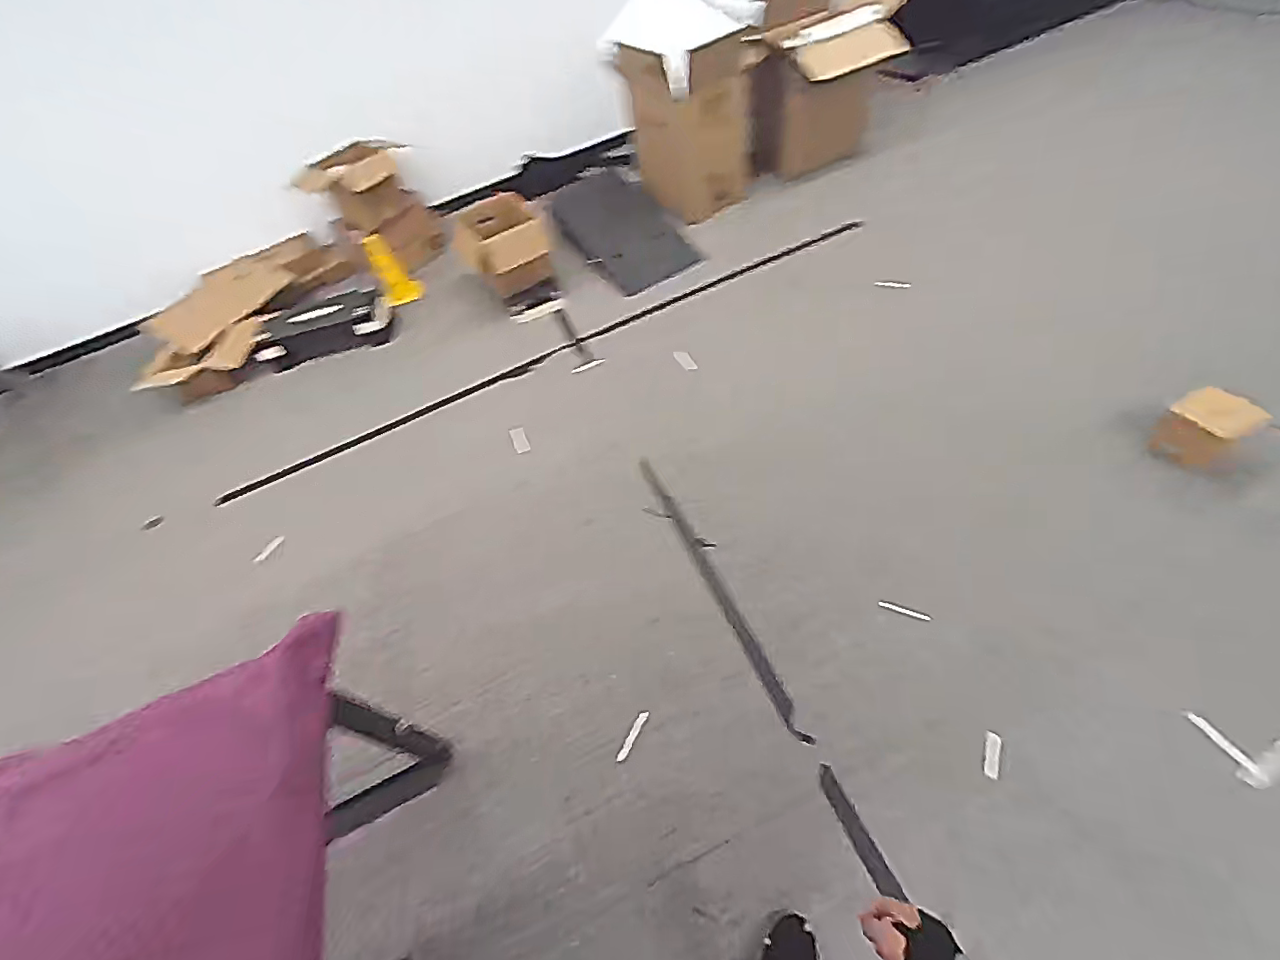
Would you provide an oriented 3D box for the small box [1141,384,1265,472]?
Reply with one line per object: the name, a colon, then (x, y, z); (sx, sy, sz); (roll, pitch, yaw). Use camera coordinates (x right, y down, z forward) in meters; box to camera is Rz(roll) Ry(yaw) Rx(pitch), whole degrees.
small box: (1.716, -0.158, 1.663); (0.179, 0.176, 0.168); (-28, 52, -8)
